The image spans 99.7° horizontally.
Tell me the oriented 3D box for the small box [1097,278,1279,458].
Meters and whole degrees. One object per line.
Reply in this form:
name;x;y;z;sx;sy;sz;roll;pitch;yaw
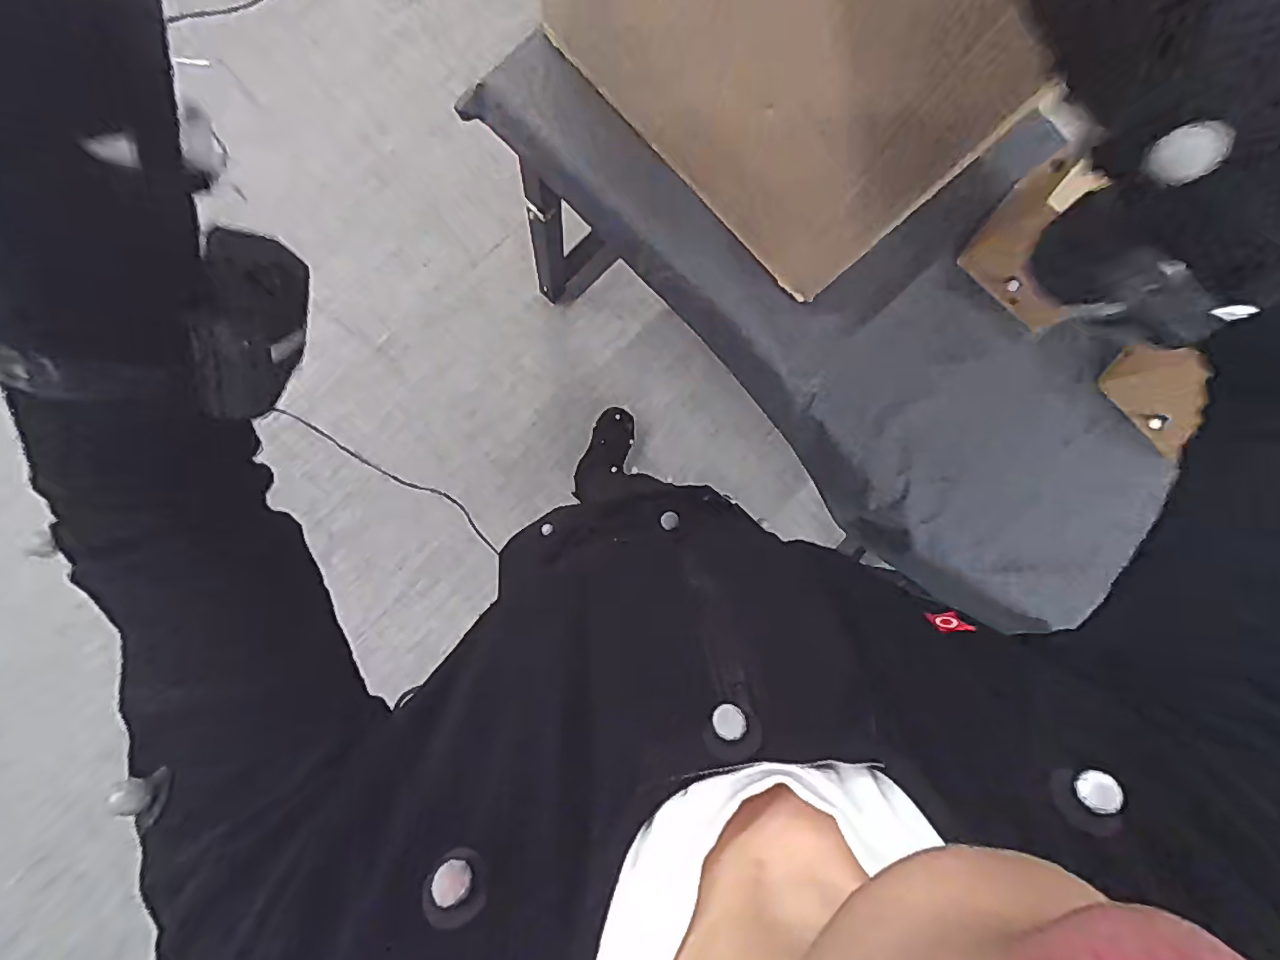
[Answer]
small box;0.832;-0.146;0.778;0.179;0.176;0.168;44;82;-2
